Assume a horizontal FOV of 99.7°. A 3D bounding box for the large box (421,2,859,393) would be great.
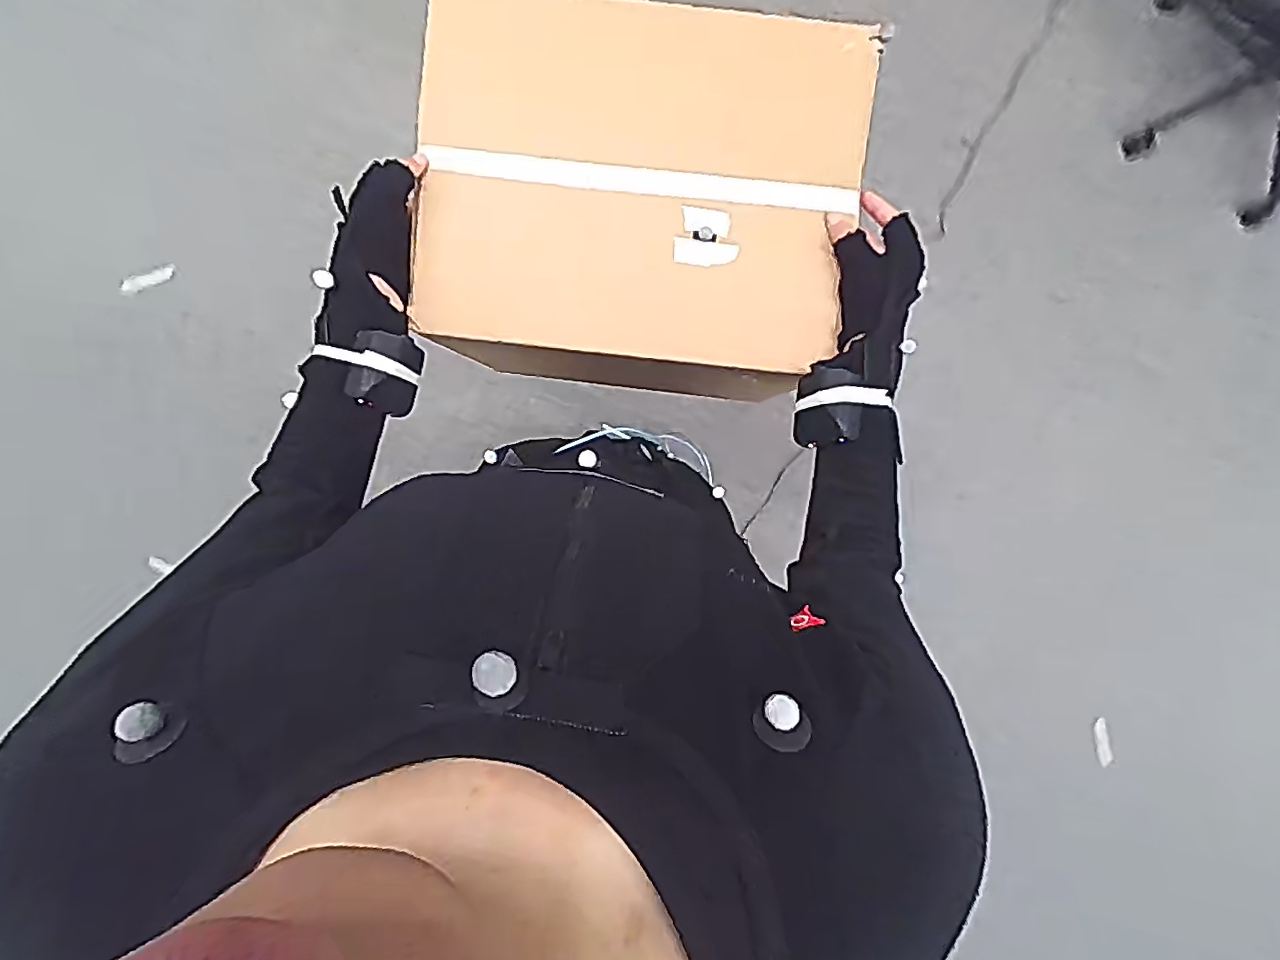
[{"bbox_3d":[-0.006,-0.287,0.660,0.408,0.320,0.320,5,95,-1],"label":"large box"}]
